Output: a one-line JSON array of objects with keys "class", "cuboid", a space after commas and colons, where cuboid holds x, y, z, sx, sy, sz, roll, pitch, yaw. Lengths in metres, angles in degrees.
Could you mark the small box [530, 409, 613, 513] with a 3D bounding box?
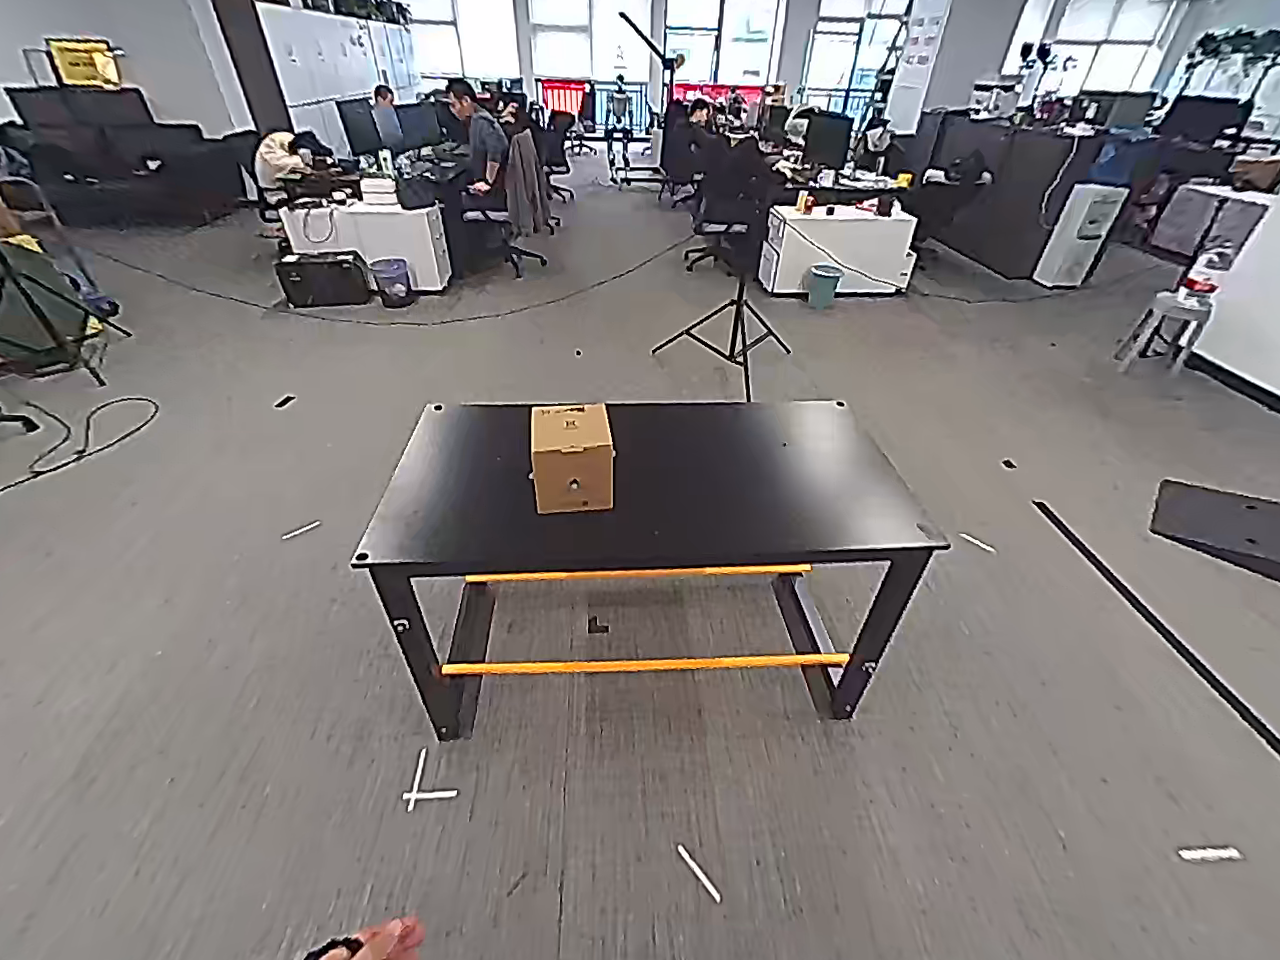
[{"class": "small box", "cuboid": [-0.150, -0.039, 1.204, 0.168, 0.176, 0.179, -5, 38, -7]}]
